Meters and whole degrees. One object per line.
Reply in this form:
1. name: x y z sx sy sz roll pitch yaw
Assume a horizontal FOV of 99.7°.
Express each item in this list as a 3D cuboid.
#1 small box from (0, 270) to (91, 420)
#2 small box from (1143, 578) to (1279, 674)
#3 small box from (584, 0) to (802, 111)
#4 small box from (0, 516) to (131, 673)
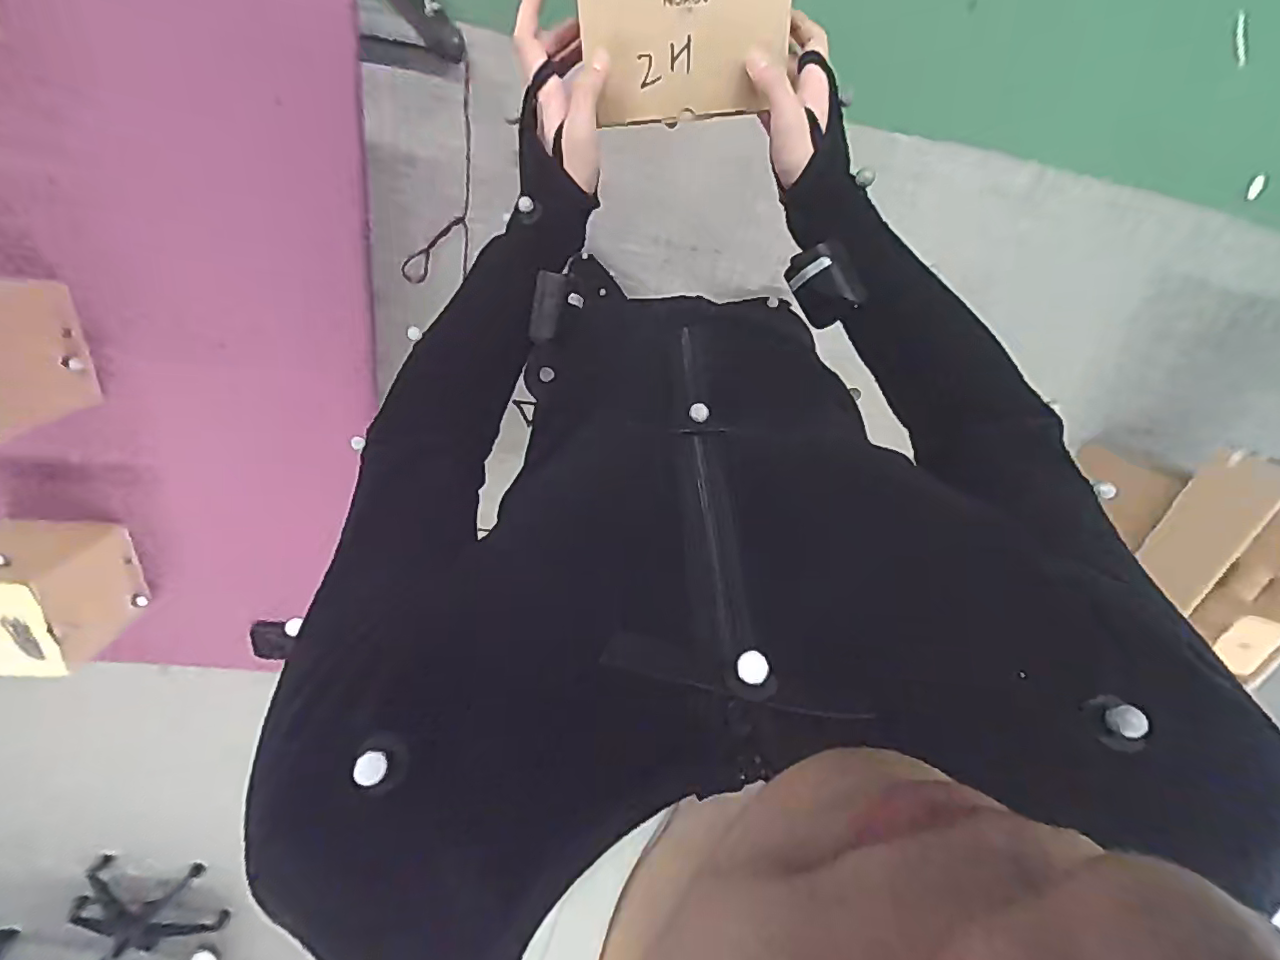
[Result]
1. small box: -0.855 -0.167 0.661 0.179 0.176 0.168 3 116 -7
2. small box: 1.538 0.387 1.453 0.179 0.176 0.168 15 114 -10
3. small box: 0.035 -0.427 0.456 0.168 0.176 0.179 -4 130 -1
4. small box: -0.922 0.165 0.810 0.179 0.176 0.168 4 114 -6
